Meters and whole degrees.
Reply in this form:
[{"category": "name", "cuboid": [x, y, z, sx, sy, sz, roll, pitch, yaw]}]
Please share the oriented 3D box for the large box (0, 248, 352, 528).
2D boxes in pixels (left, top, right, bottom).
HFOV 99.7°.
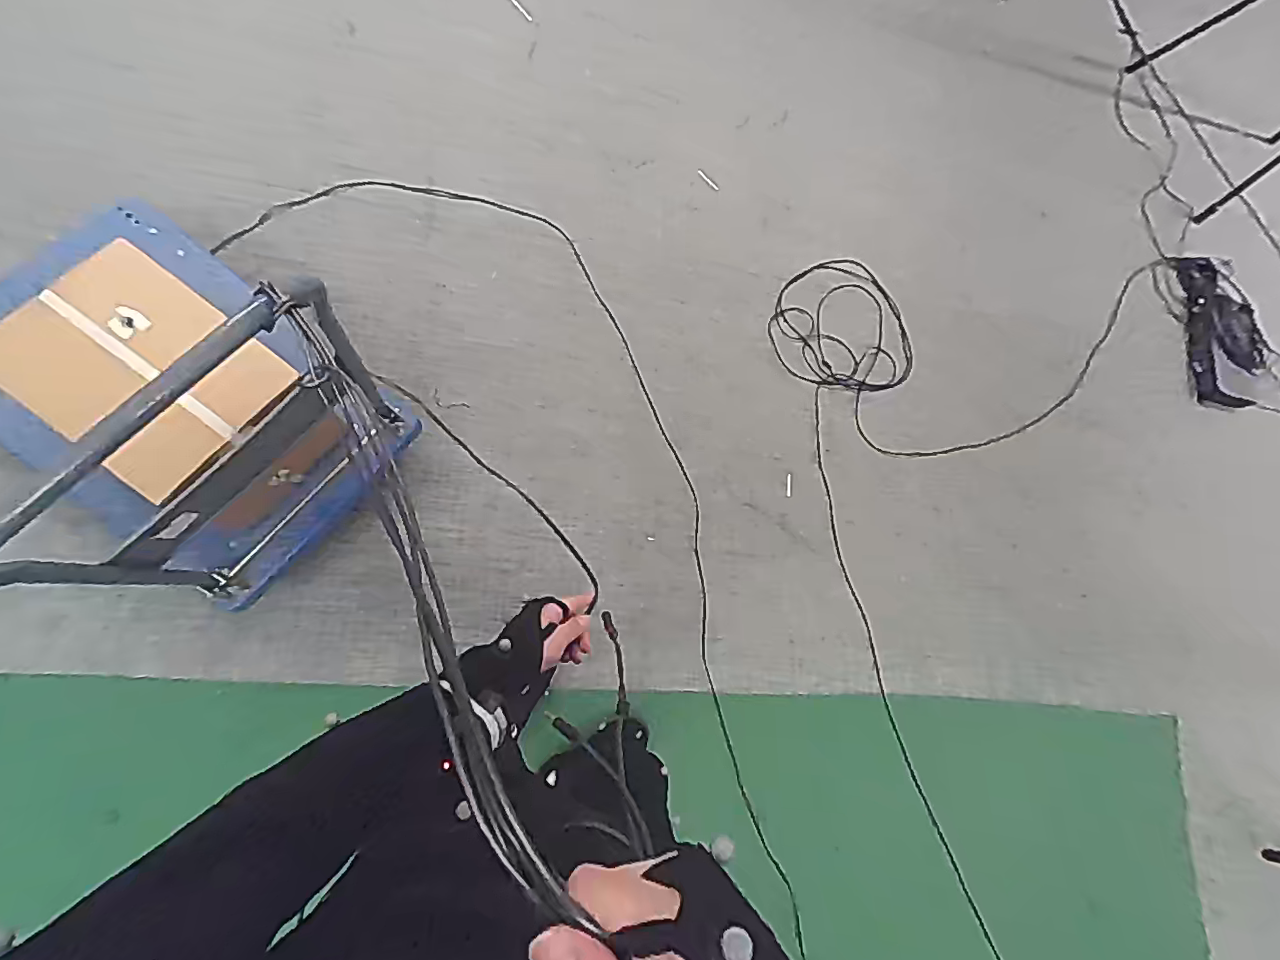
[{"category": "large box", "cuboid": [-0.882, -0.155, 1.076, 0.408, 0.320, 0.320, 38, 72, 0]}]
